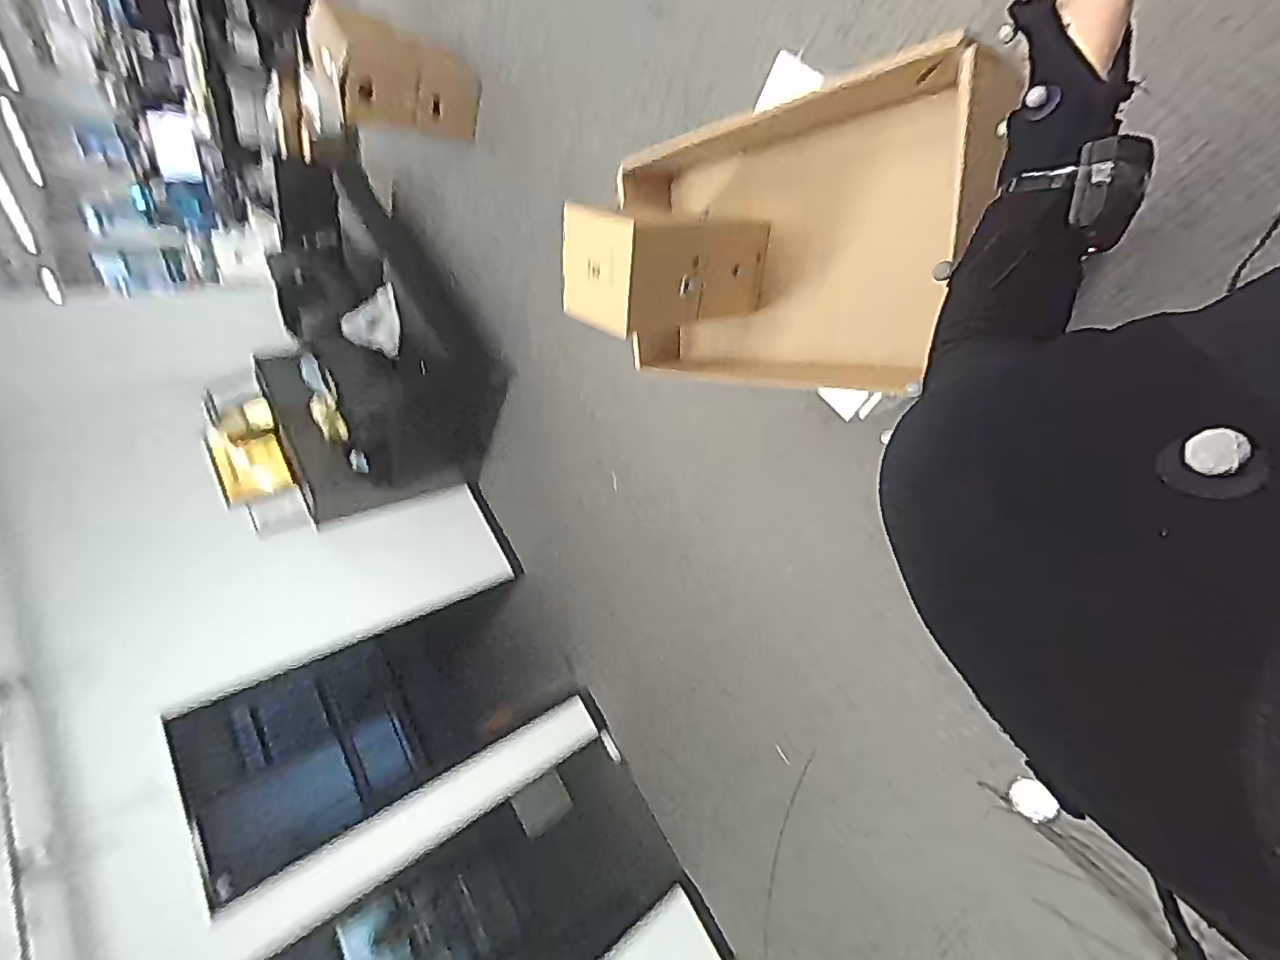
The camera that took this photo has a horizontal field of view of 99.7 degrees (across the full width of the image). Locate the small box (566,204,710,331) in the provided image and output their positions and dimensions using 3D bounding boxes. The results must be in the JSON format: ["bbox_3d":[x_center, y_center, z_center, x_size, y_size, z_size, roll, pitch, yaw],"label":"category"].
[{"bbox_3d":[-0.008,-0.365,0.912,0.179,0.176,0.168,33,132,38],"label":"small box"}]
